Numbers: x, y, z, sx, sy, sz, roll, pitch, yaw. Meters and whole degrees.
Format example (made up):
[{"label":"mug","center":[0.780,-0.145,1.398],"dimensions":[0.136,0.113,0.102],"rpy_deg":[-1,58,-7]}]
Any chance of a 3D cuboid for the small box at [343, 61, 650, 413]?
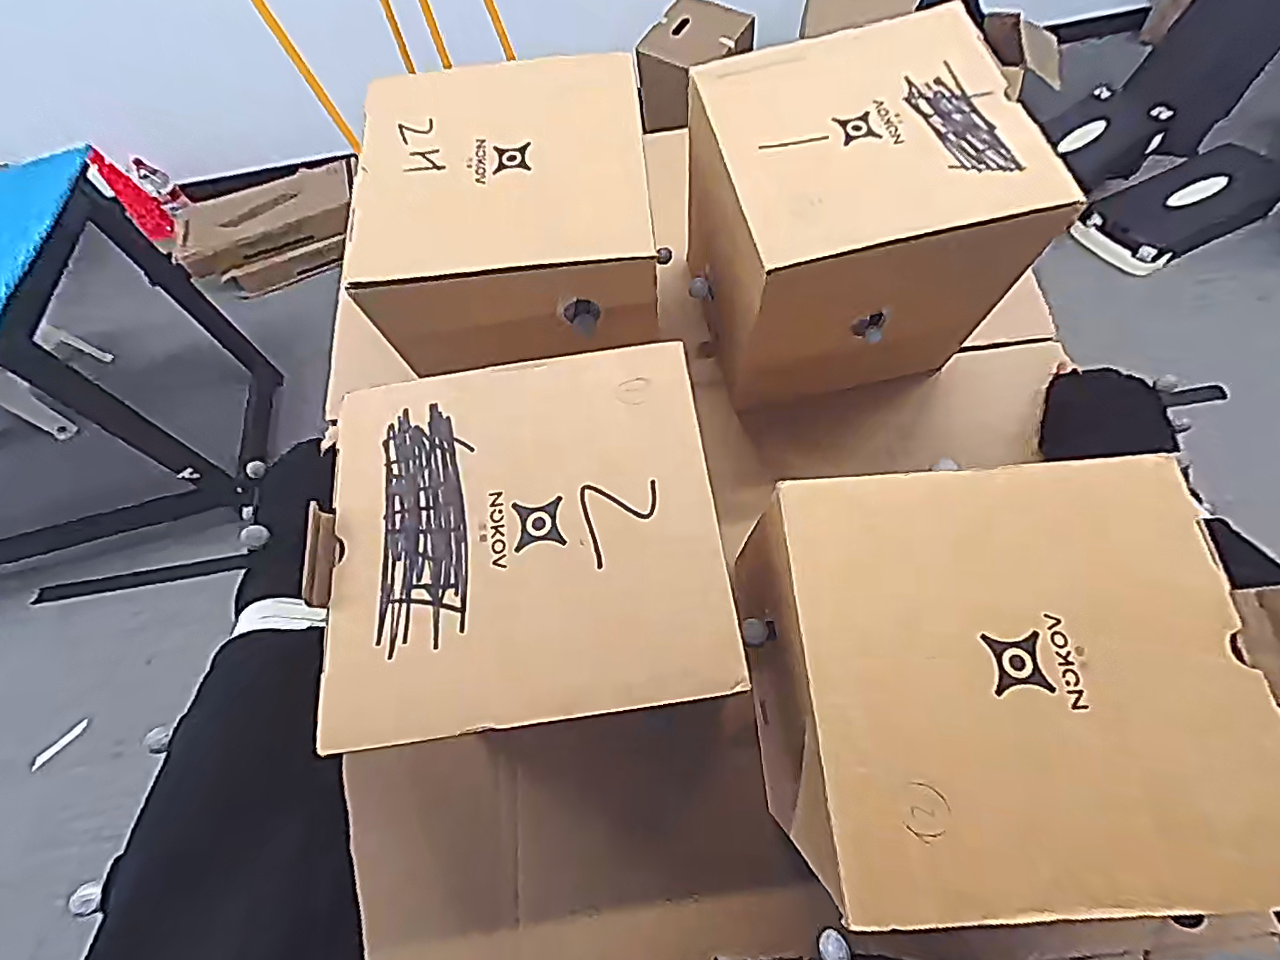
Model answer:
[{"label":"small box","center":[-0.084,-0.164,0.406],"dimensions":[0.179,0.176,0.168],"rpy_deg":[-6,70,2]}]
